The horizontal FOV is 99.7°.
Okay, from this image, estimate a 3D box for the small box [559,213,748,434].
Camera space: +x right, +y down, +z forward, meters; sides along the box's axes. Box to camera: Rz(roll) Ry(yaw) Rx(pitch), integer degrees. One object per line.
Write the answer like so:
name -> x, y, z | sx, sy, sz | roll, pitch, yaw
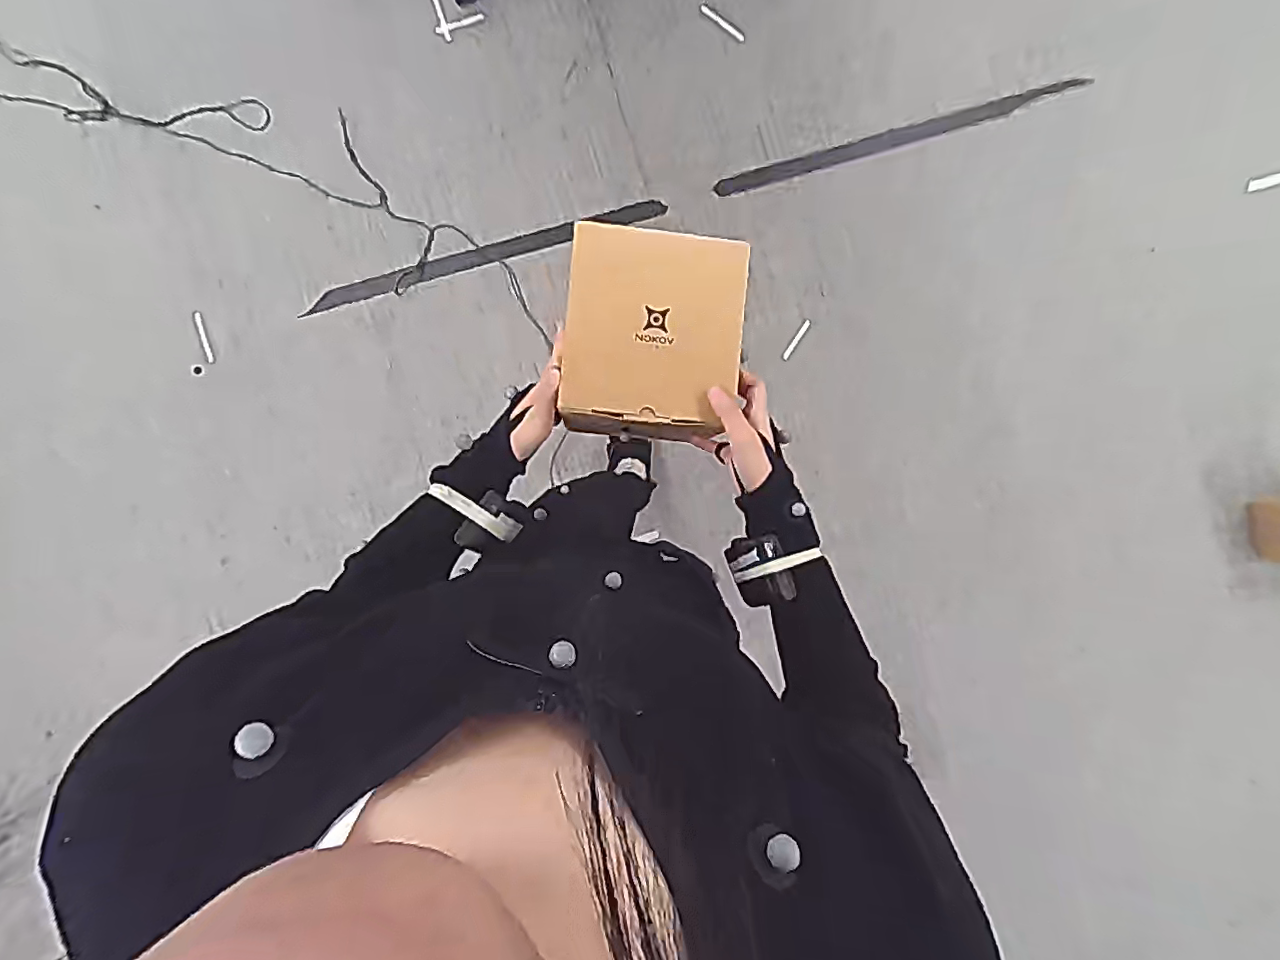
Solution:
small box -> 0.006, -0.149, 0.576 | 0.168, 0.176, 0.179 | 5, 90, -5
